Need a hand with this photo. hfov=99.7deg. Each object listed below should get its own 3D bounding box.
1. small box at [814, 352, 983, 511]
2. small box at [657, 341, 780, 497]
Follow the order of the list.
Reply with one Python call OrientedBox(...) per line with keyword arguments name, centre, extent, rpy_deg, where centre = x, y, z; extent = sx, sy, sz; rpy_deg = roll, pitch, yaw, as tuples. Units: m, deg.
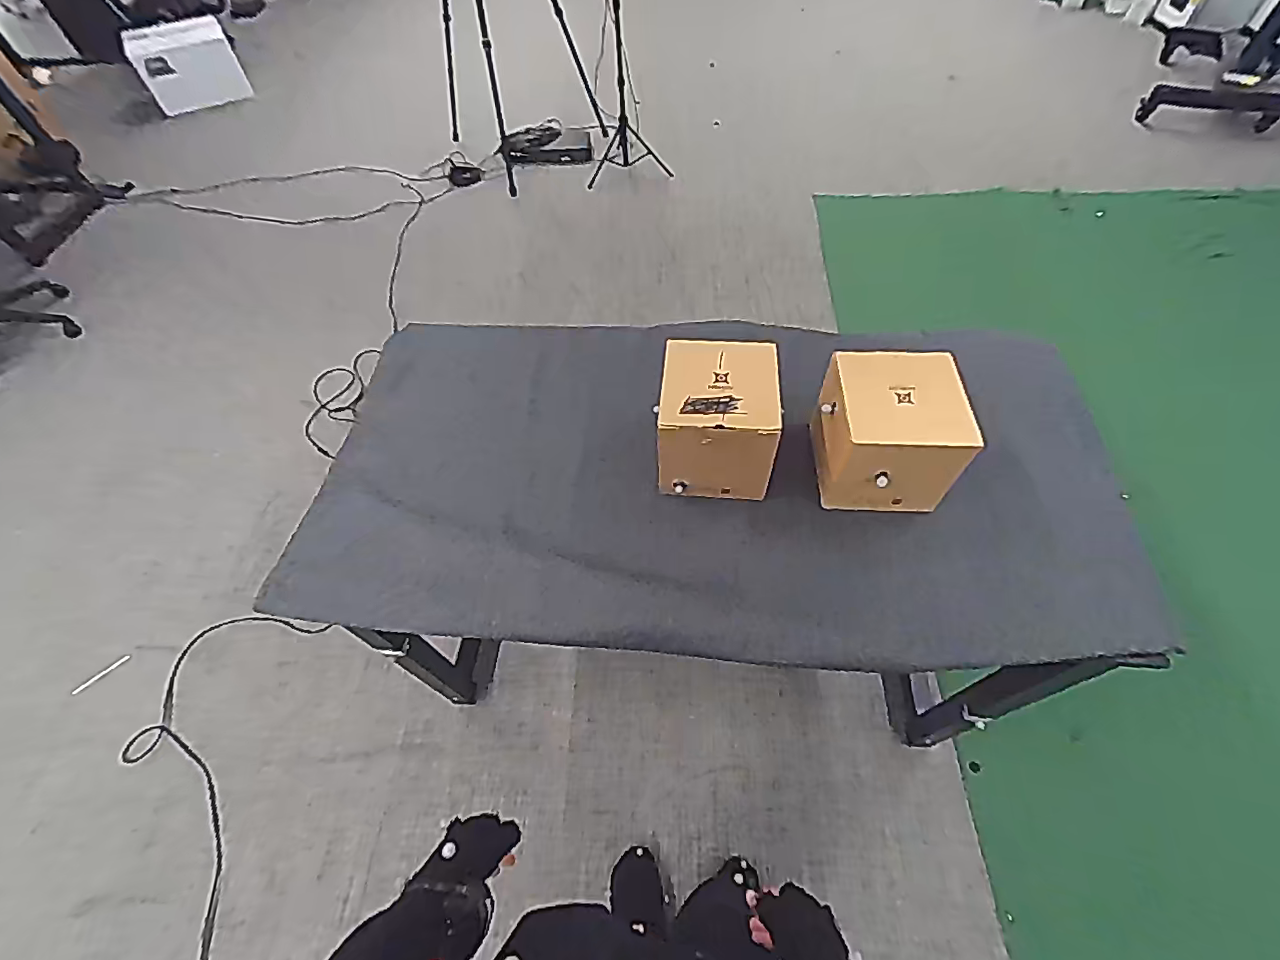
OrientedBox(name="small box", centre=(0.363, -0.067, 0.798), extent=(0.168, 0.176, 0.179), rpy_deg=(2, 55, 4))
OrientedBox(name="small box", centre=(0.118, -0.089, 0.825), extent=(0.168, 0.176, 0.179), rpy_deg=(4, 55, 5))
